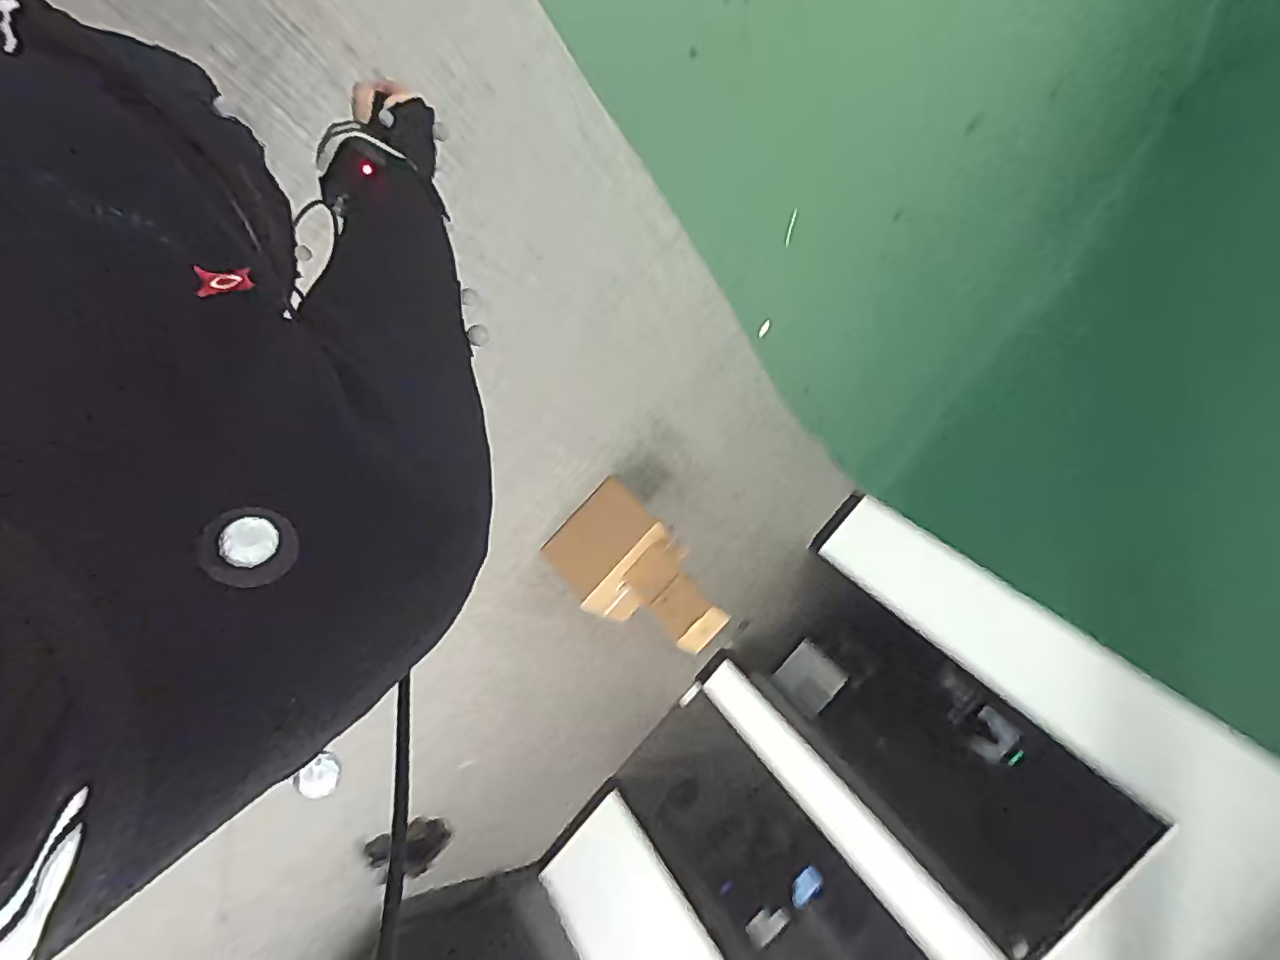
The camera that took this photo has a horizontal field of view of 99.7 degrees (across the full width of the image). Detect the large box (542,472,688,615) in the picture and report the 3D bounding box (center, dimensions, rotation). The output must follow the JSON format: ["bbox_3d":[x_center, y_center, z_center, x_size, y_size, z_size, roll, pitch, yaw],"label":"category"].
[{"bbox_3d":[-0.096,0.247,2.089,0.408,0.320,0.320,-47,142,1],"label":"large box"}]

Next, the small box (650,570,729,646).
[{"bbox_3d":[0.164,0.430,1.831,0.168,0.176,0.179,-46,144,2],"label":"small box"}]
